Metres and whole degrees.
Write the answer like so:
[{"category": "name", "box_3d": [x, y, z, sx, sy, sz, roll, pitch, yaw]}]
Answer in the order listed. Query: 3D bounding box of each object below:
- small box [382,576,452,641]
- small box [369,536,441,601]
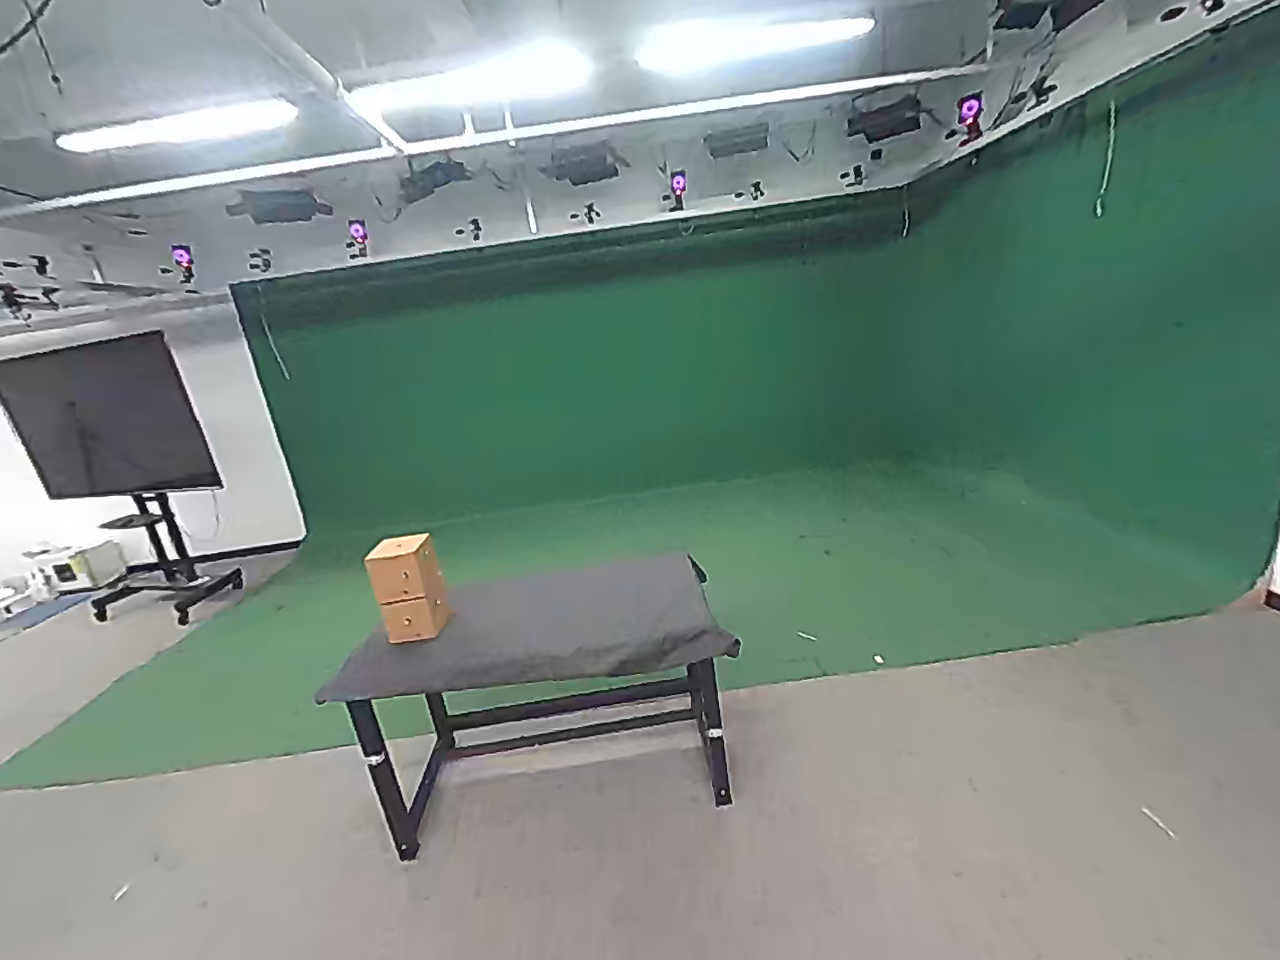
[{"category": "small box", "box_3d": [-0.793, 0.466, 1.946, 0.168, 0.176, 0.179, -7, 16, 1]}, {"category": "small box", "box_3d": [-0.813, 0.314, 1.890, 0.168, 0.176, 0.179, -7, 14, -2]}]
